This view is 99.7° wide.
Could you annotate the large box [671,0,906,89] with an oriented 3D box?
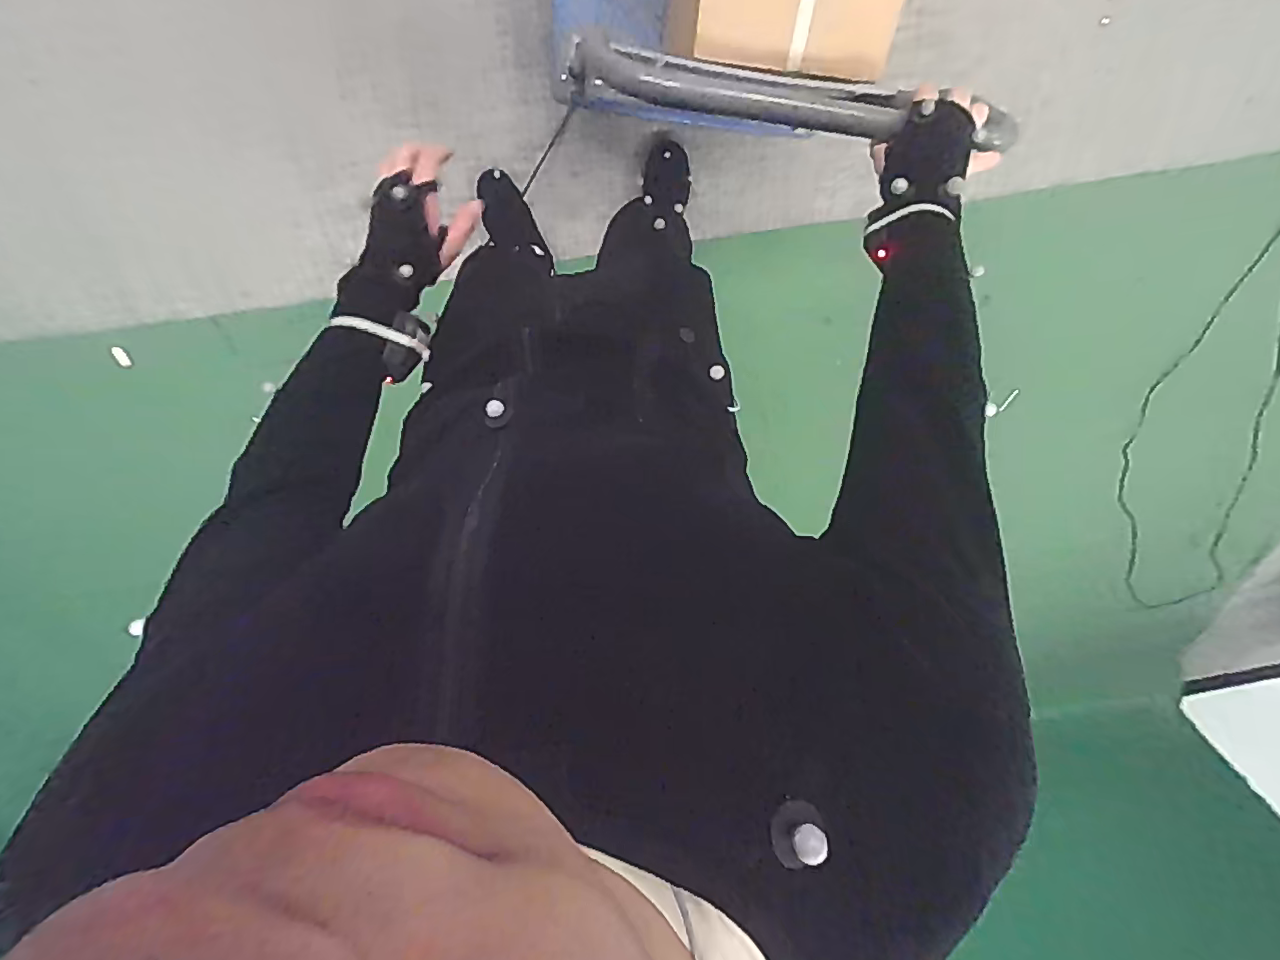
[{"bbox_3d":[0.240,-0.880,0.859,0.320,0.320,0.408,0,125,-10],"label":"large box"}]
